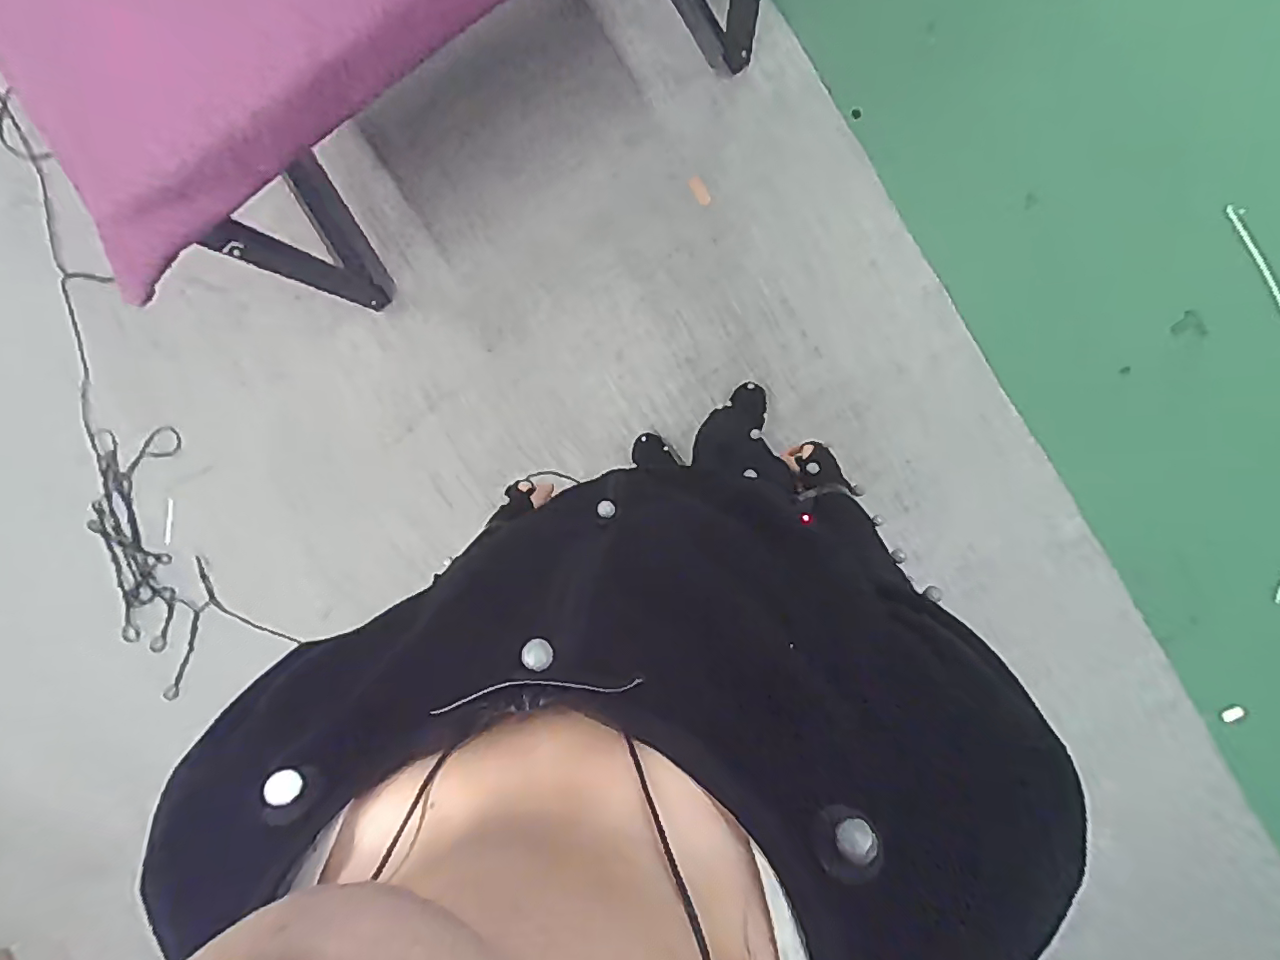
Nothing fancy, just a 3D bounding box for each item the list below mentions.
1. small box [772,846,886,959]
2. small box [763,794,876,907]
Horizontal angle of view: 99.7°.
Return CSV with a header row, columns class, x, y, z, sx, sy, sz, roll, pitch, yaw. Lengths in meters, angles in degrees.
class,x,y,z,sx,sy,sz,roll,pitch,yaw
small box,0.381,0.901,1.108,0.179,0.176,0.168,-22,92,7
small box,0.411,0.892,1.268,0.168,0.176,0.179,-37,91,7
